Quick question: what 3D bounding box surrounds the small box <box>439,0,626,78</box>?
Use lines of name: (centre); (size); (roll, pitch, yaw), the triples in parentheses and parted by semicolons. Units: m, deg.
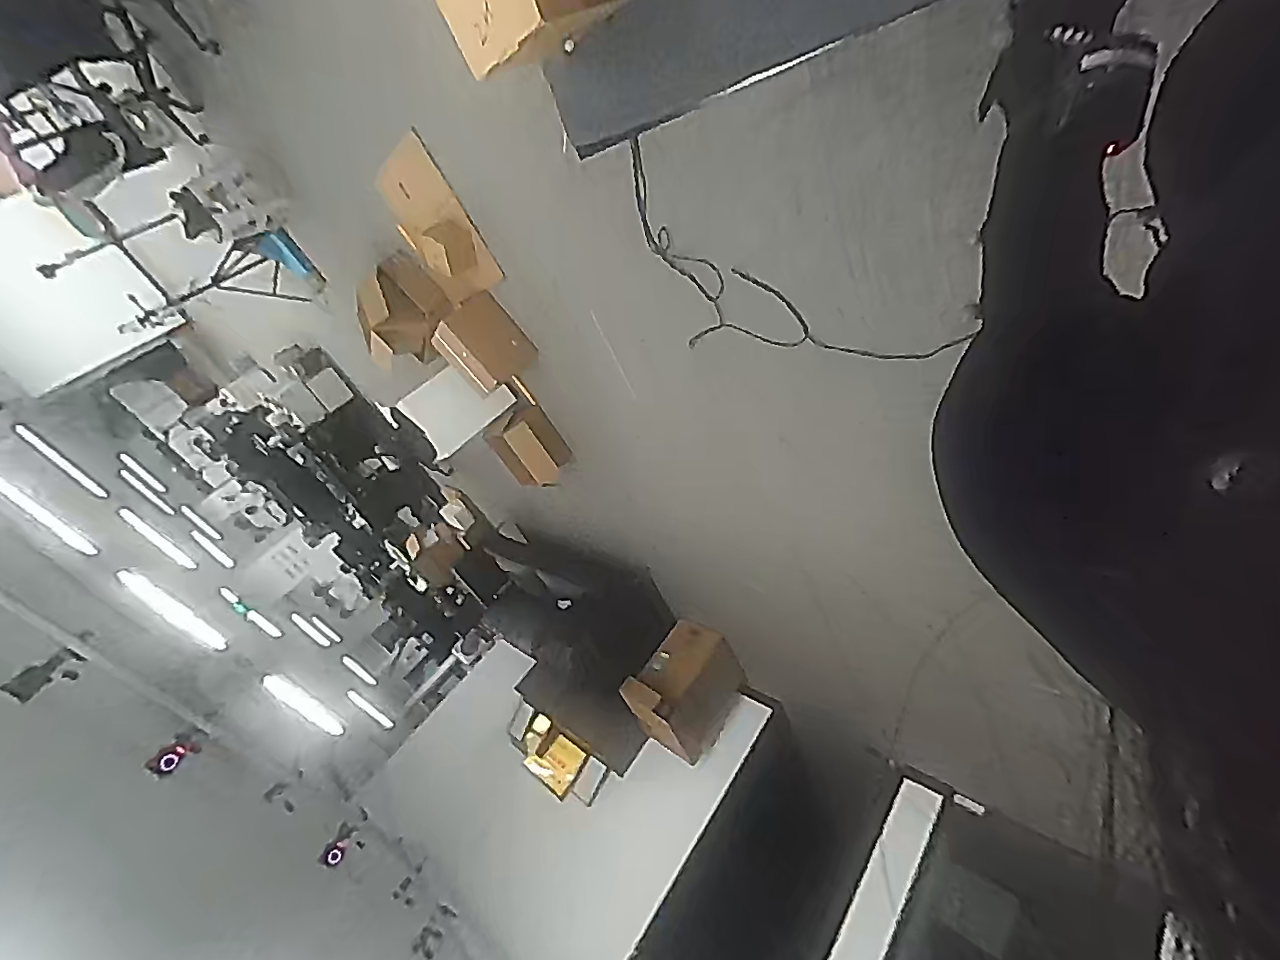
small box: (-0.148, -0.651, 0.675); (0.168, 0.176, 0.179); (8, 135, 45)
